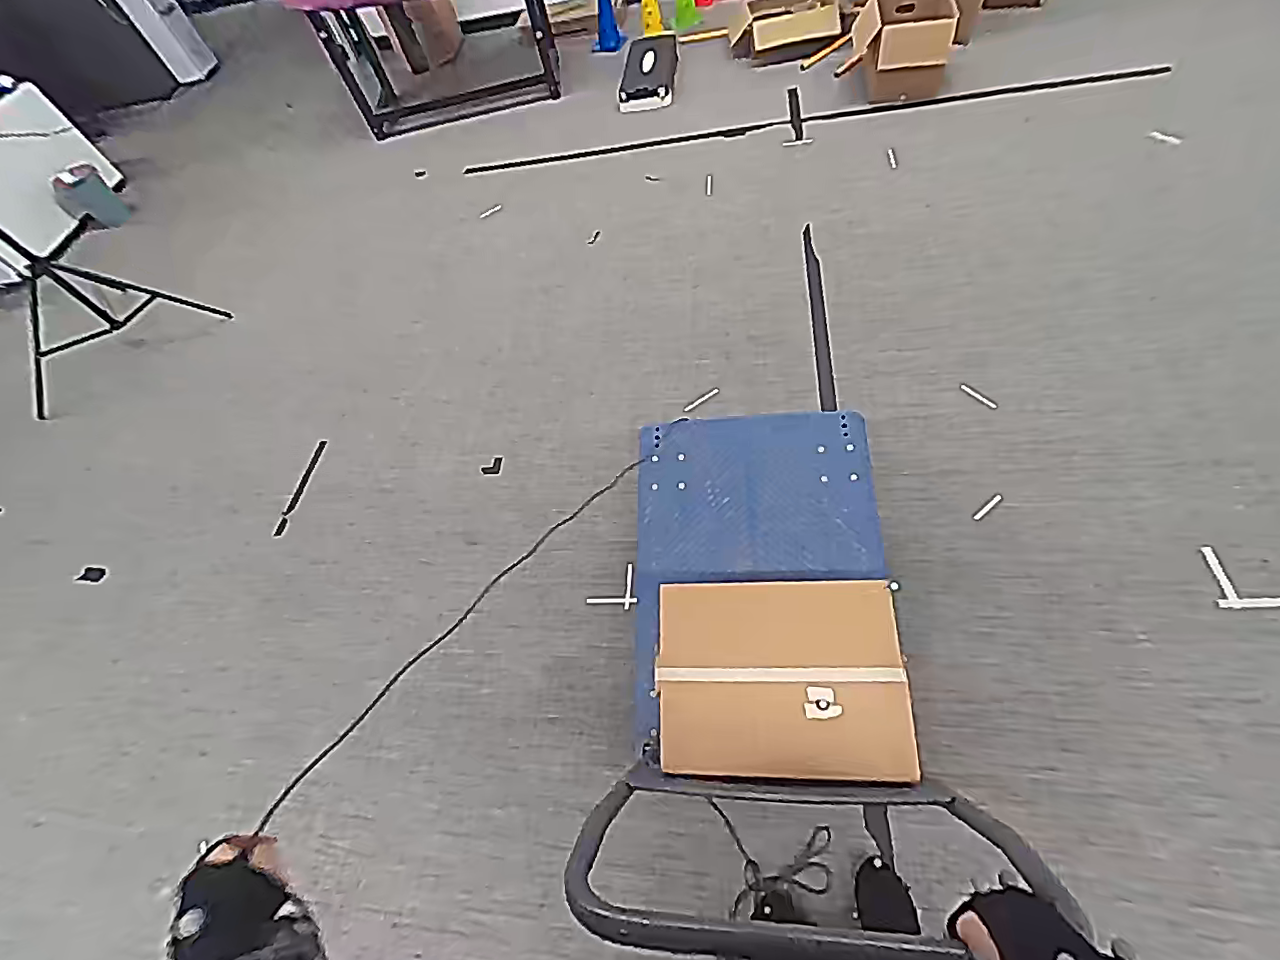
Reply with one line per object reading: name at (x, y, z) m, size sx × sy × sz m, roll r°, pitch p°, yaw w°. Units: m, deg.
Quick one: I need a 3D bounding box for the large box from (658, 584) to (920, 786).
large box at (0.252, 0.390, 1.039) m, size 0.408 × 0.320 × 0.320 m, roll -3°, pitch 69°, yaw 9°
